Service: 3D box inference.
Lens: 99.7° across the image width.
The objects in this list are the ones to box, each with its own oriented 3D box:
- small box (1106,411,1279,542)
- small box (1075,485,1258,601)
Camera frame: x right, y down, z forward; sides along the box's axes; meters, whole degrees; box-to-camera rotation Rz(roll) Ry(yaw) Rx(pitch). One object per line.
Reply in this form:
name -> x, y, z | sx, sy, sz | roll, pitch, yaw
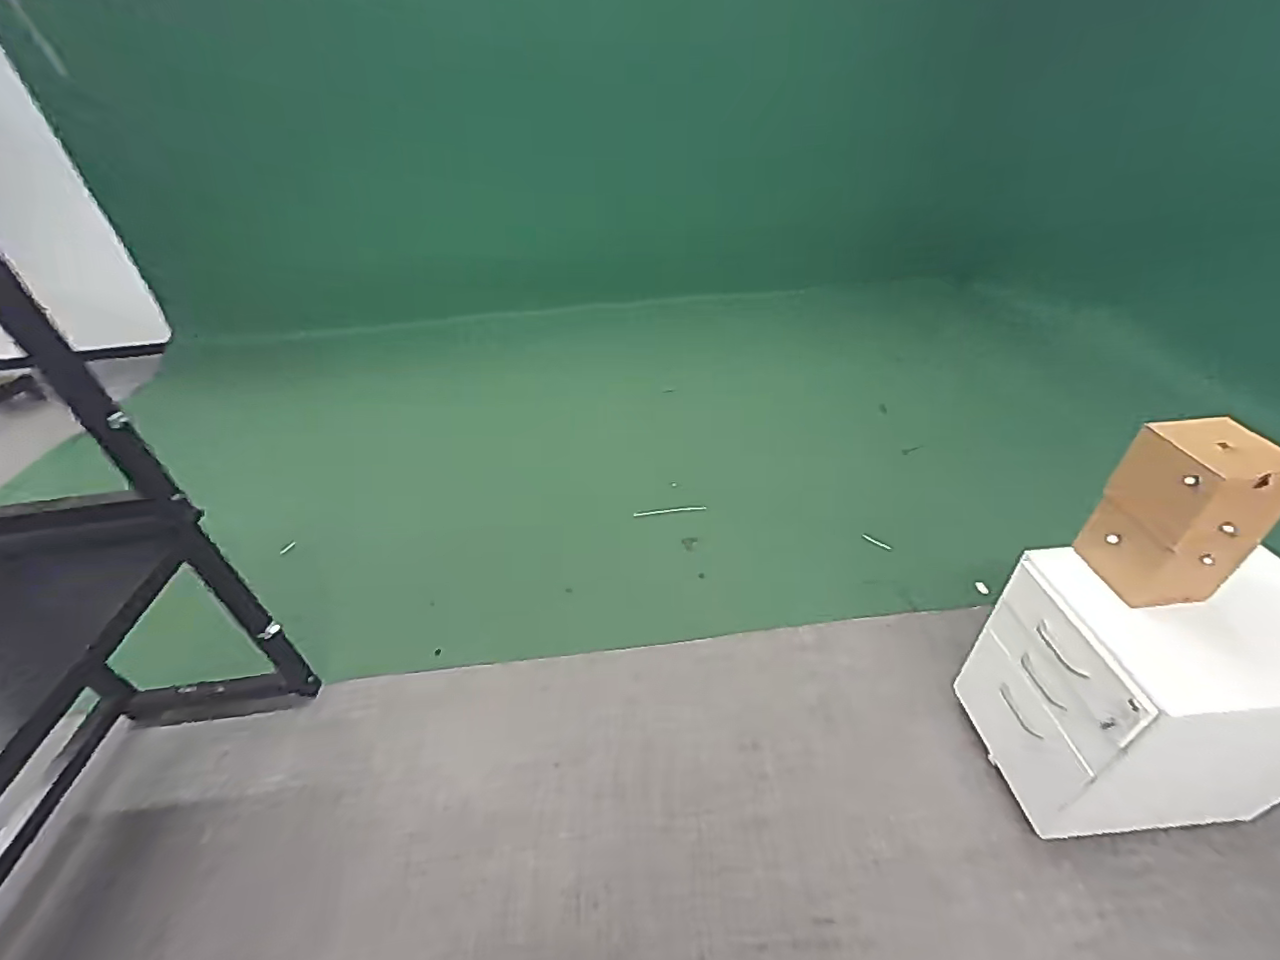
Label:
small box -> 1.034, -0.007, 1.003 | 0.168, 0.176, 0.179 | -5, 40, -2
small box -> 1.050, 0.121, 1.103 | 0.168, 0.176, 0.179 | -6, 39, -1
